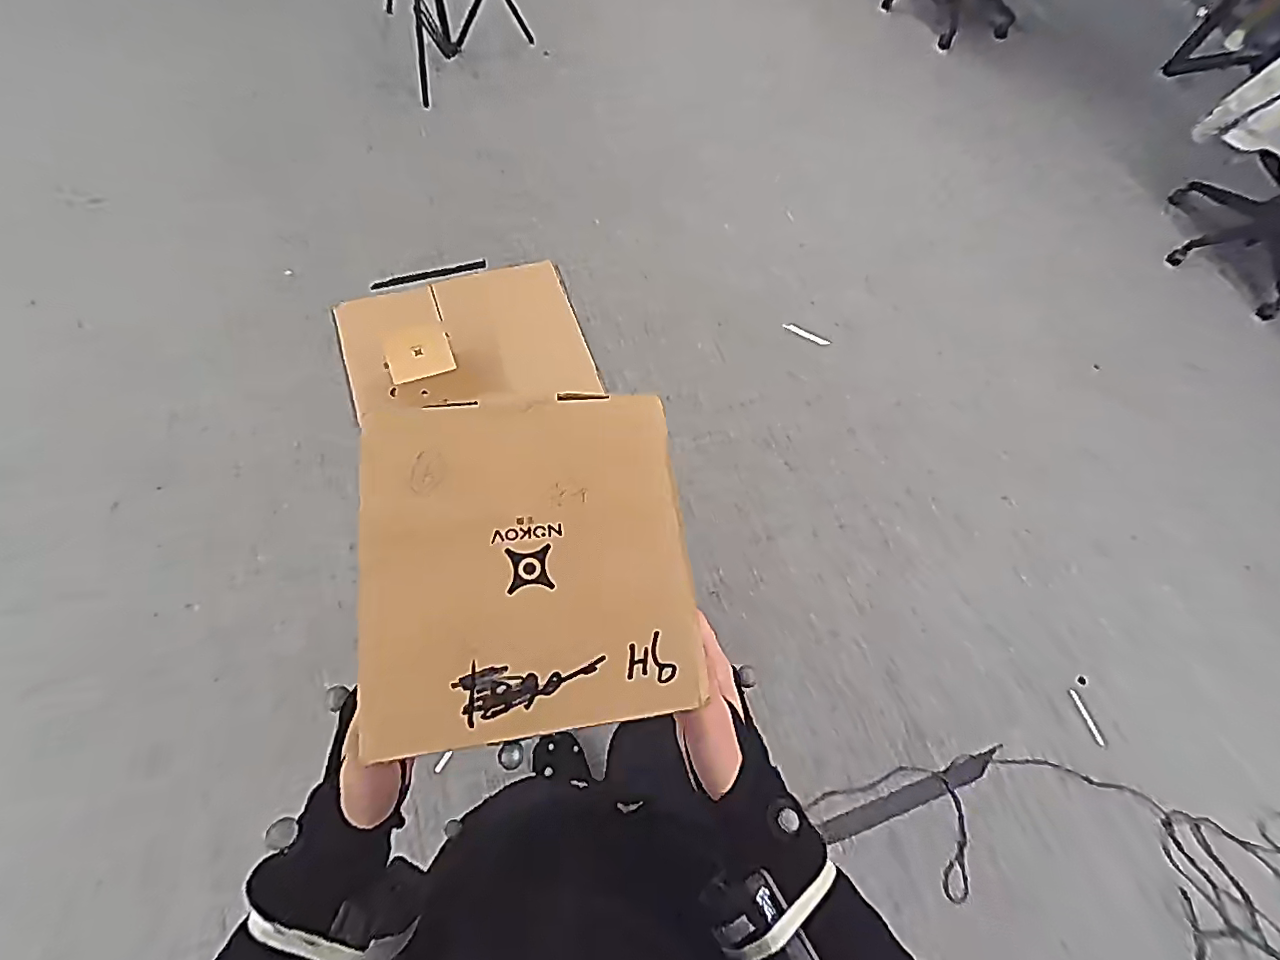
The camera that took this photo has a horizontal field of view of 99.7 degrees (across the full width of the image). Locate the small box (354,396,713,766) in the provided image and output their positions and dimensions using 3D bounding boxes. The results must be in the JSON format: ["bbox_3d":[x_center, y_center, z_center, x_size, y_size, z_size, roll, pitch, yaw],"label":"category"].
[{"bbox_3d":[-0.066,0.065,0.349,0.168,0.176,0.179,-6,72,-9],"label":"small box"}]

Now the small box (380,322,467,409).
[{"bbox_3d":[-0.599,-0.305,1.517,0.168,0.176,0.179,-20,71,-14],"label":"small box"}]
